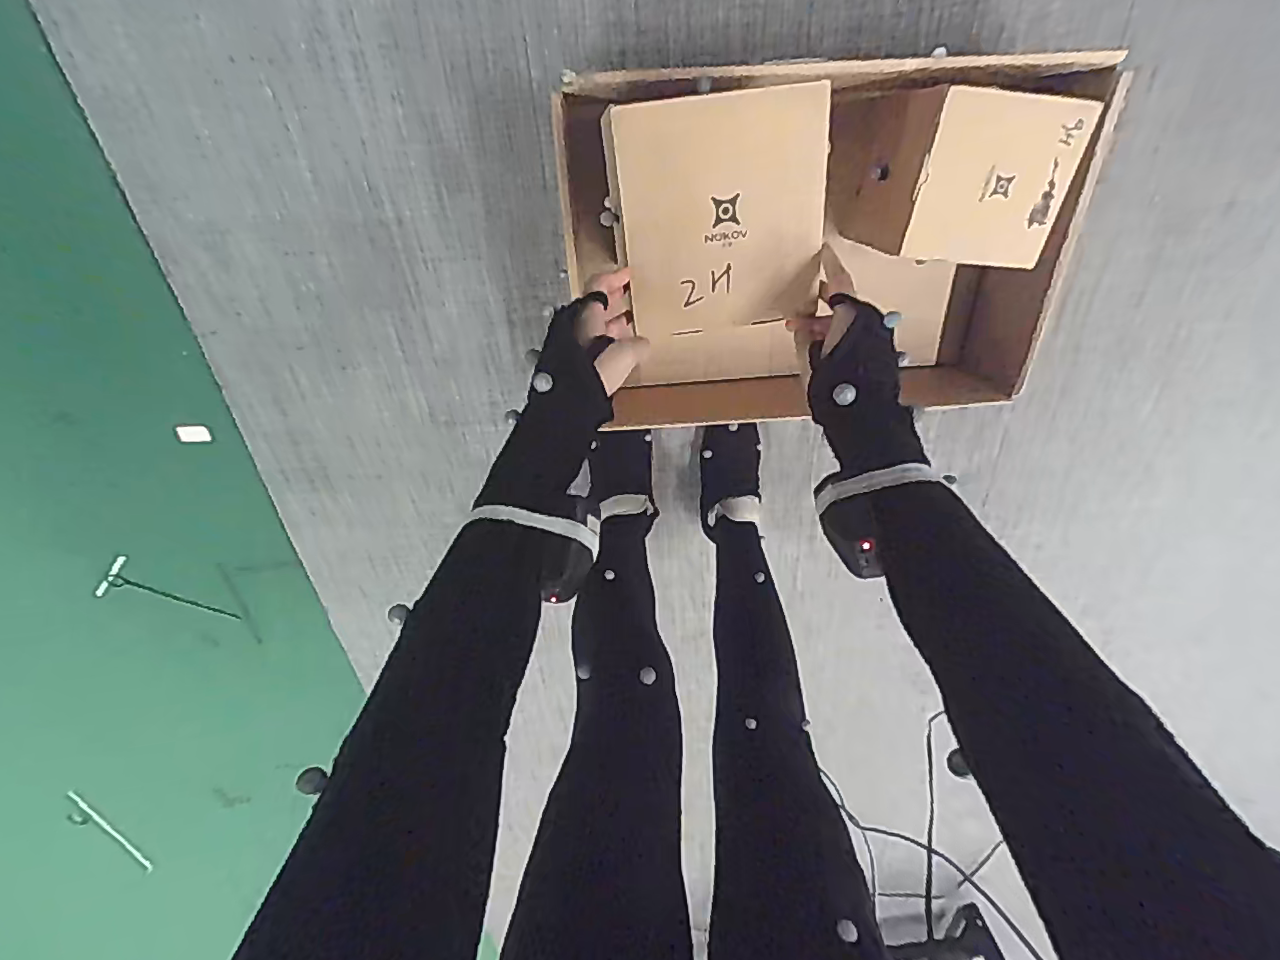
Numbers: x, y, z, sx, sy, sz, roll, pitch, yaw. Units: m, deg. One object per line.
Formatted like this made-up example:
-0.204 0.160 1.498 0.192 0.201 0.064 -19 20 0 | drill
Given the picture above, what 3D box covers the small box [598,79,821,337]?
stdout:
0.053 -0.250 0.503 0.168 0.176 0.179 -7 122 -1 | small box
